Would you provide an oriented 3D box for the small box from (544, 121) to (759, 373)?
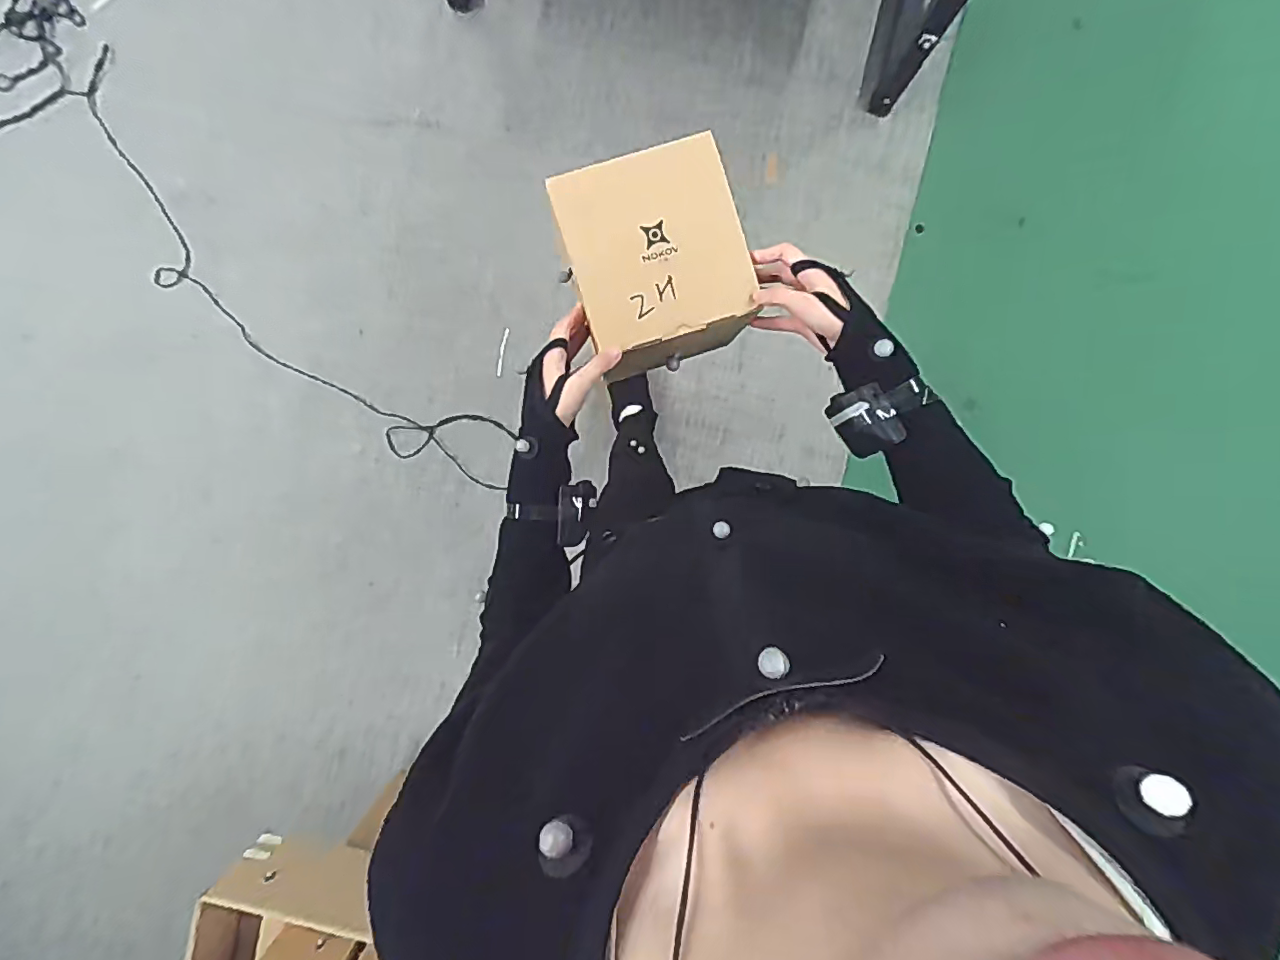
[{"bbox_3d":[0.007,-0.232,0.581,0.168,0.176,0.179,-17,92,-2],"label":"small box"}]
